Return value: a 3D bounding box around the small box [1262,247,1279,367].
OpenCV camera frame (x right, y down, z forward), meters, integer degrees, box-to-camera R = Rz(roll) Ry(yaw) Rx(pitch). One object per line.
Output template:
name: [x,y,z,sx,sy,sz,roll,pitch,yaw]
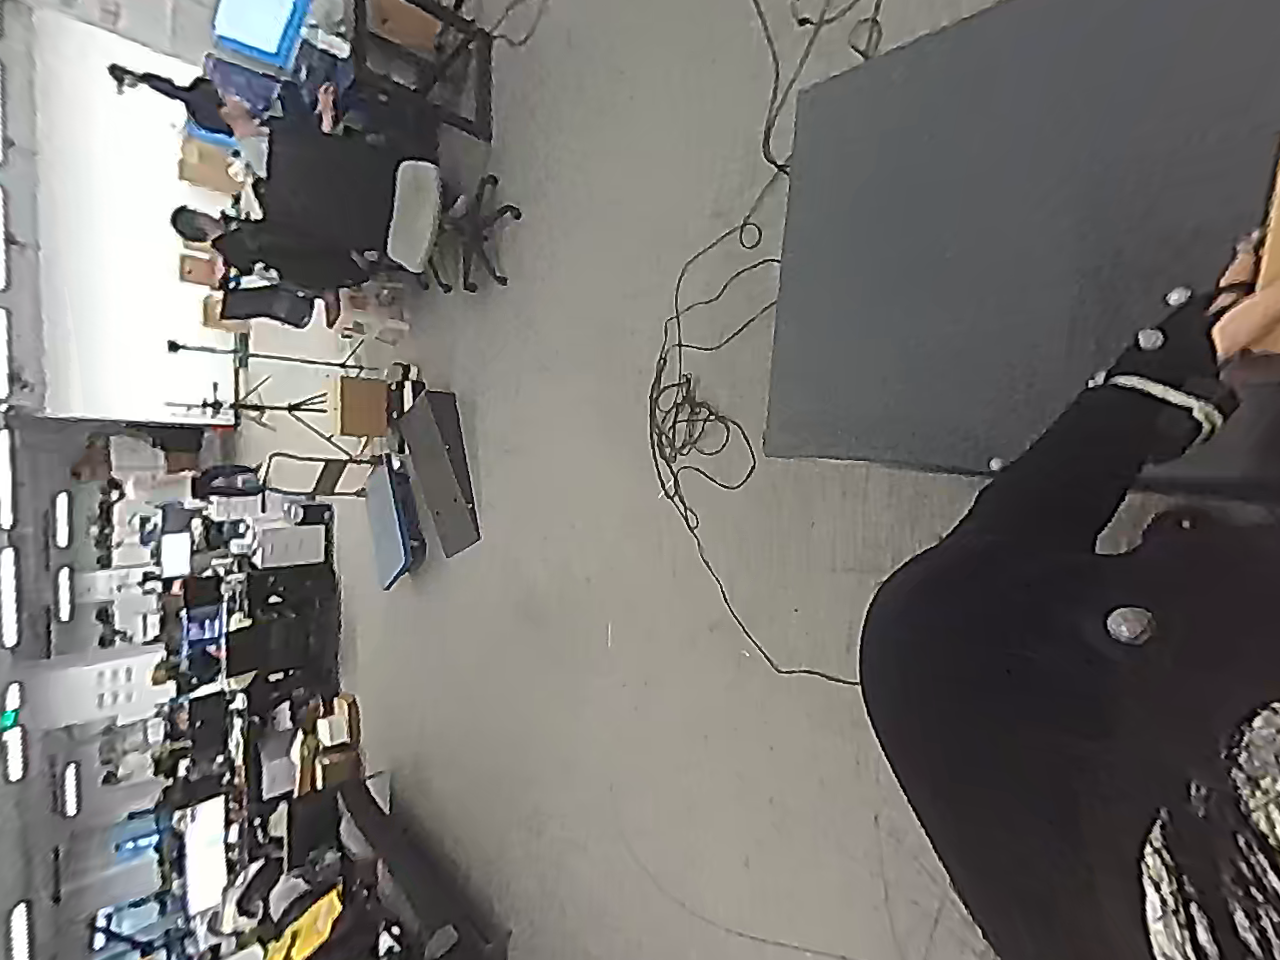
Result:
small box: [0.610,-0.183,0.408,0.168,0.176,0.179,11,98,47]
